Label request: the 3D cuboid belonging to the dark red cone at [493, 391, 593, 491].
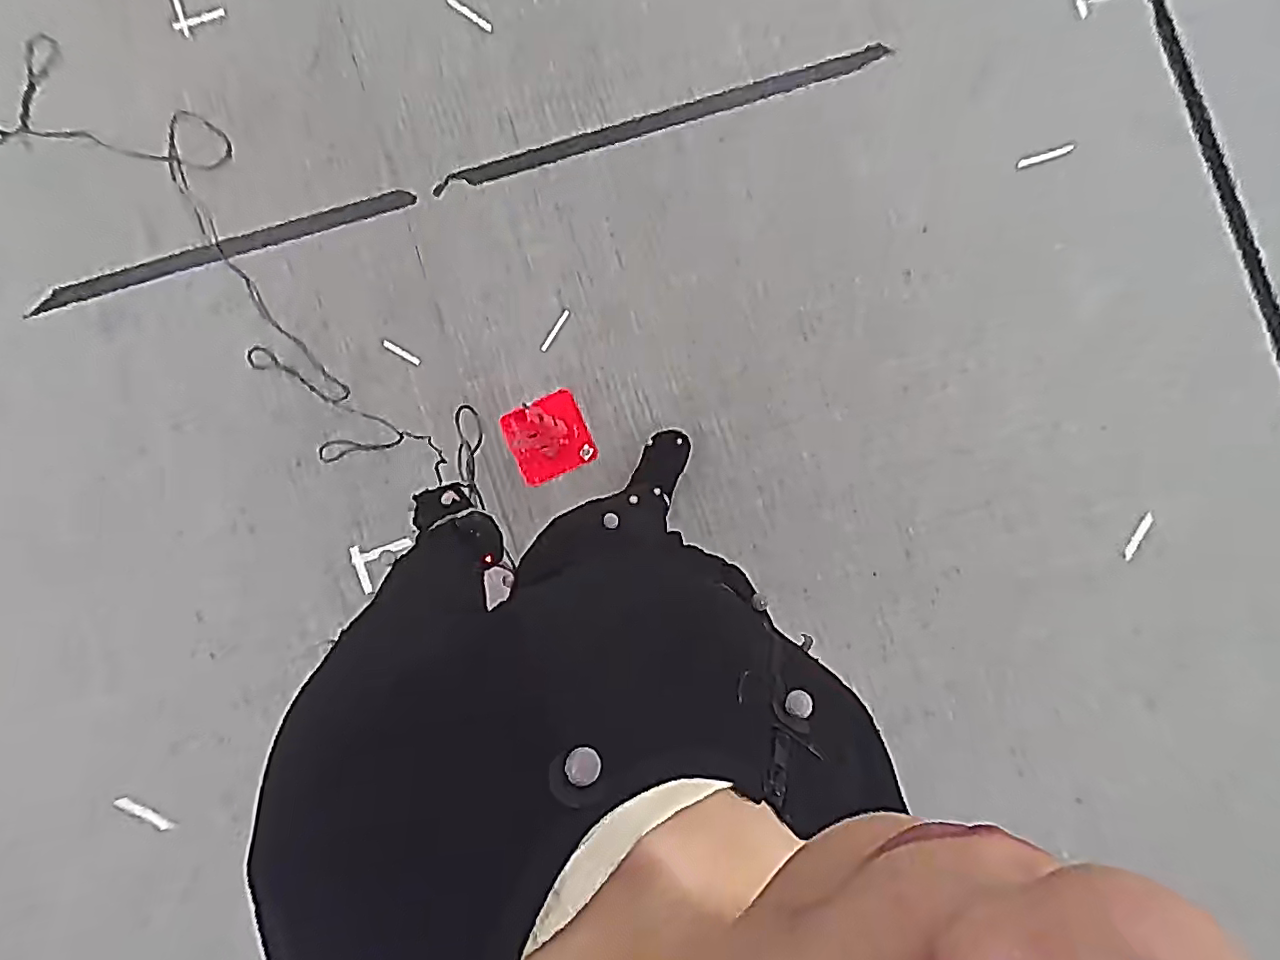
[{"bbox_3d":[-0.235,-0.103,1.160,0.202,0.394,0.201,-25,87,-1],"label":"dark red cone"}]
